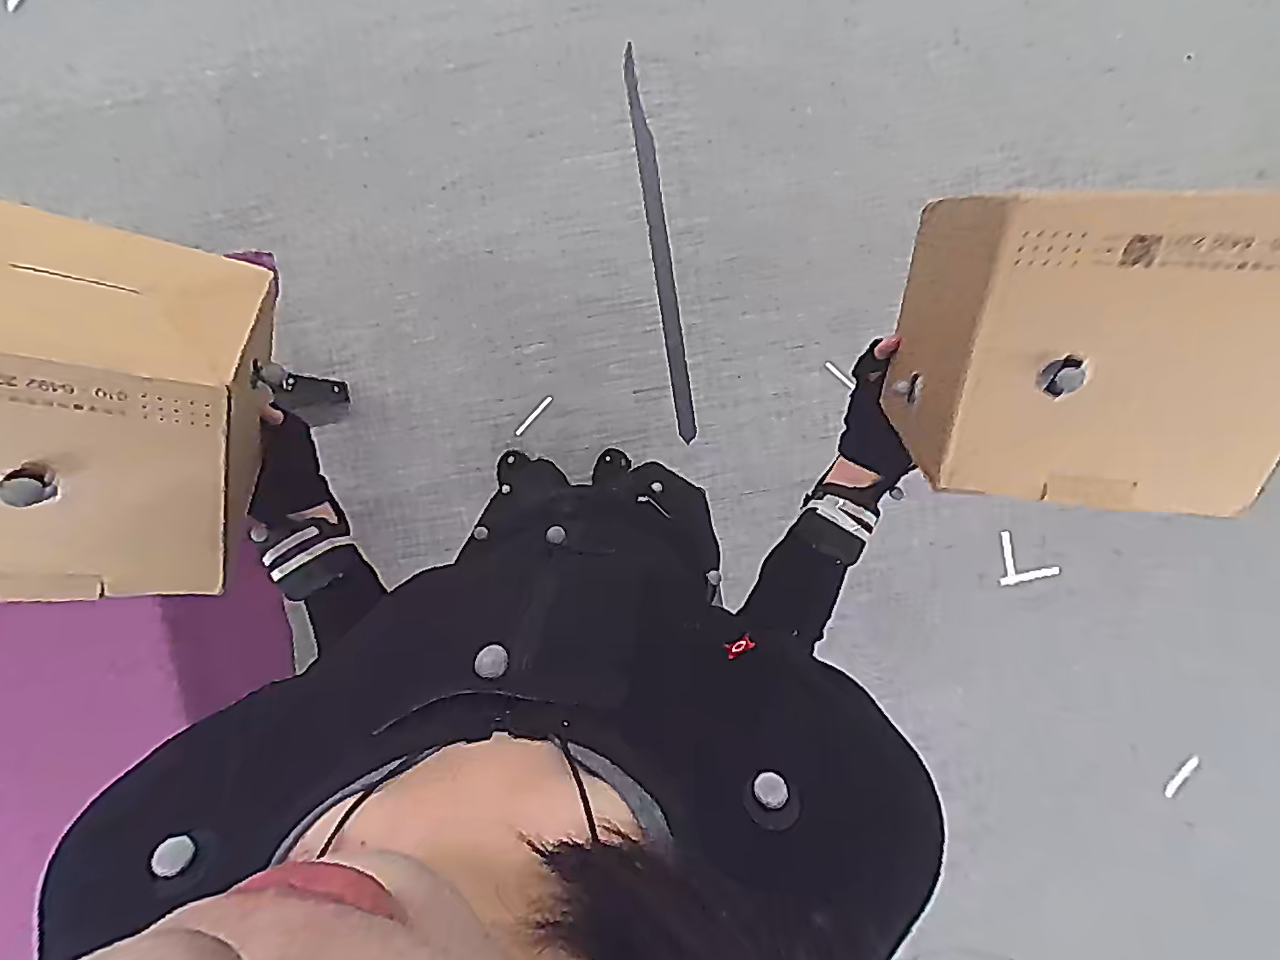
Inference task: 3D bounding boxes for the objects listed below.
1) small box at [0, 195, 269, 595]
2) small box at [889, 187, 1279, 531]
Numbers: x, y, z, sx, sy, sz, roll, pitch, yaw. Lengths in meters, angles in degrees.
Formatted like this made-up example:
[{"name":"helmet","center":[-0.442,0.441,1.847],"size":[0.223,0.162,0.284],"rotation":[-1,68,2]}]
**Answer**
[{"name":"small box","center":[-0.338,-0.051,0.328],"size":[0.168,0.179,0.176],"rotation":[9,124,-31]},{"name":"small box","center":[0.279,-0.090,0.346],"size":[0.168,0.179,0.176],"rotation":[7,118,10]}]
